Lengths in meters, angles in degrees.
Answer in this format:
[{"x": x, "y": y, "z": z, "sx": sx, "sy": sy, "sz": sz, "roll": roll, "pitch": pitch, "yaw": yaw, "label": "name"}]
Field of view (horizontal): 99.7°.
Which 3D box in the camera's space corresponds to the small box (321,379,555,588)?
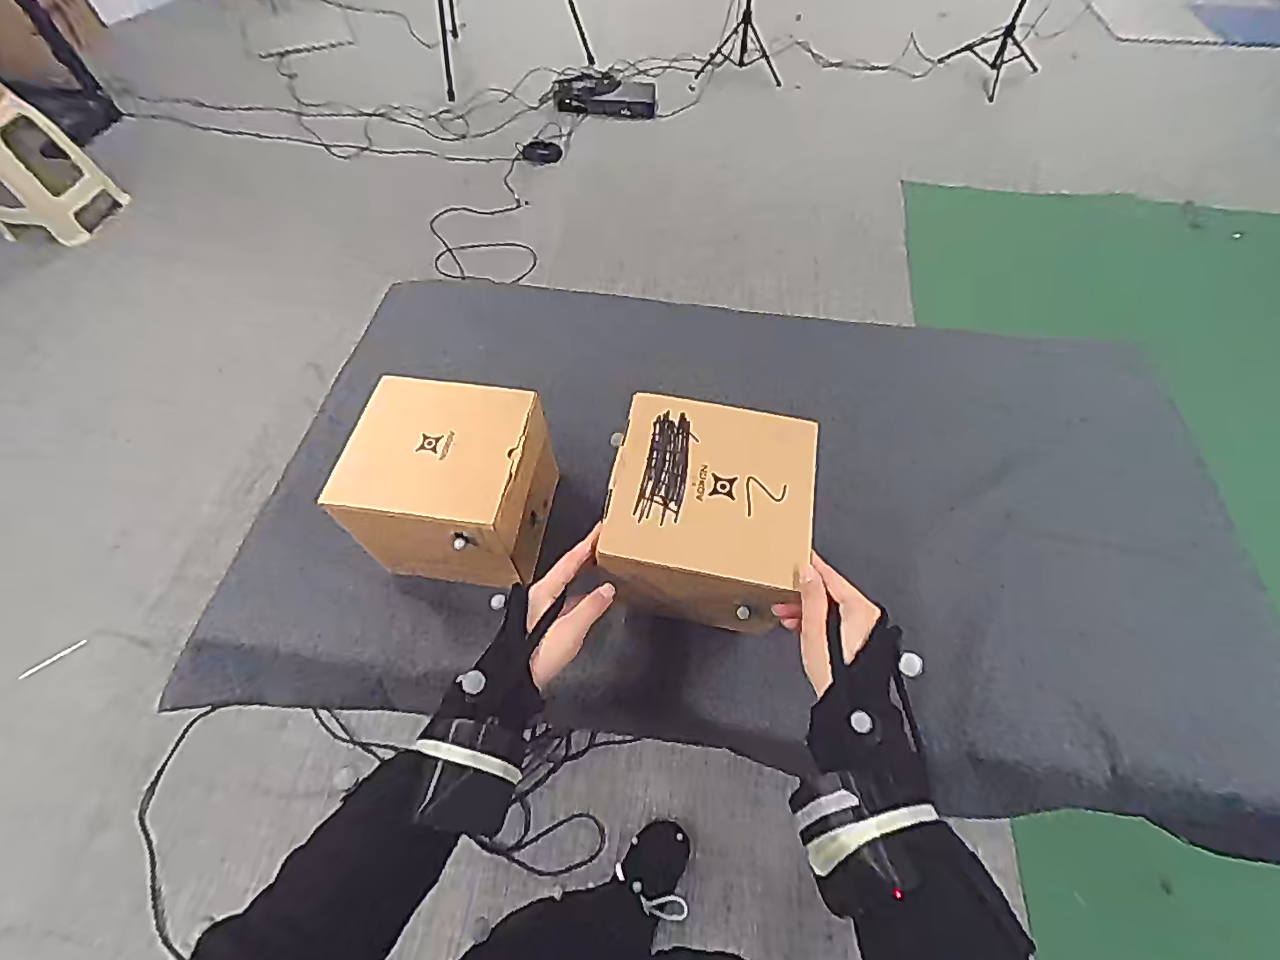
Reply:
[{"x": -0.205, "y": 0.009, "z": 0.611, "sx": 0.179, "sy": 0.176, "sz": 0.168, "roll": 7, "pitch": 58, "yaw": 4, "label": "small box"}]
